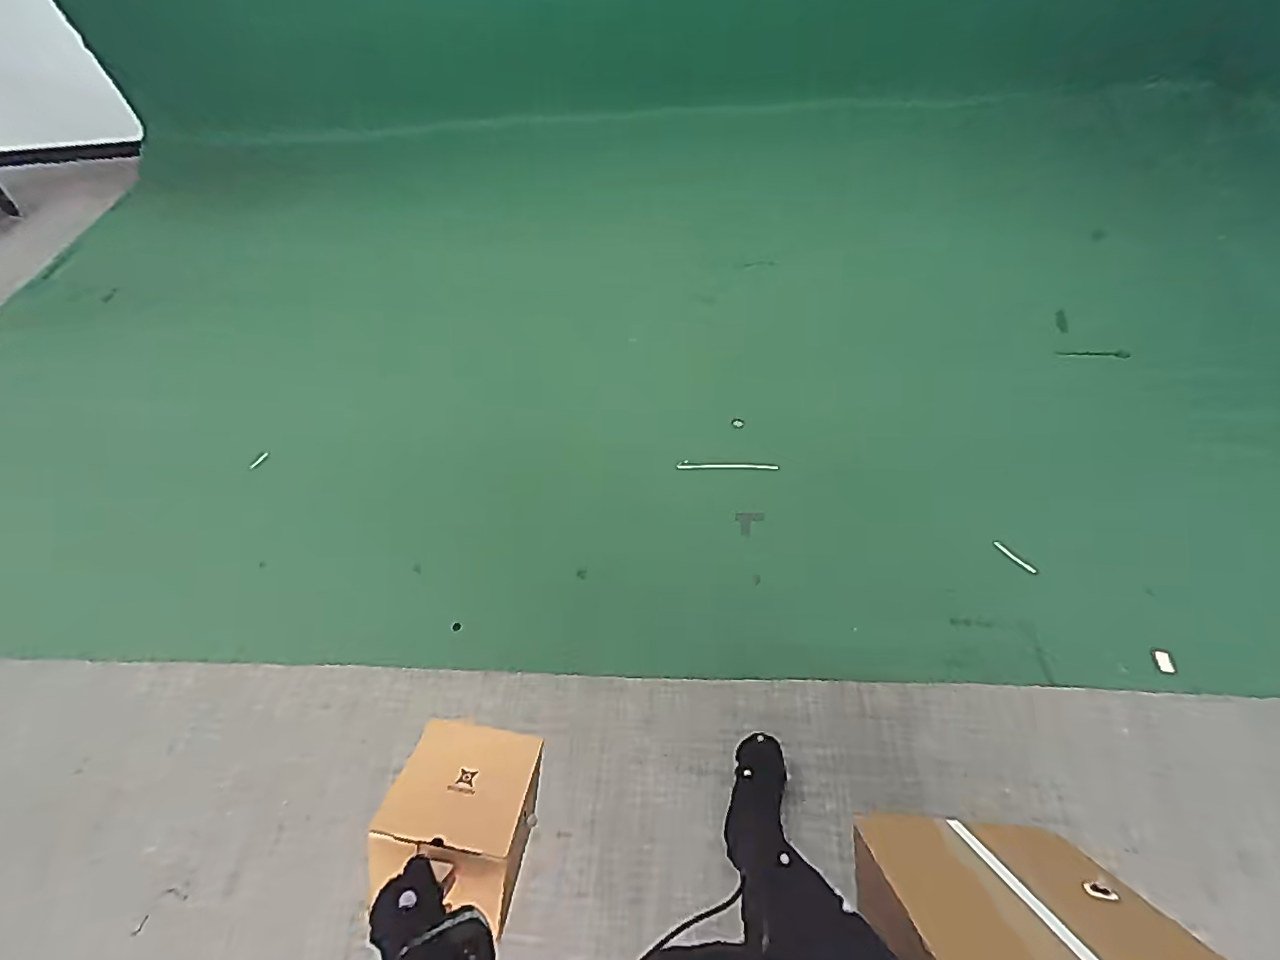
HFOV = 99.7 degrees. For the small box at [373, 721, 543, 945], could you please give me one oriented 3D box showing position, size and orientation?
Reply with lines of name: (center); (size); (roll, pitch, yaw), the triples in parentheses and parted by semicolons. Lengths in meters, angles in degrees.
small box: (-0.241, 0.469, 0.733); (0.168, 0.176, 0.179); (10, 21, 1)
